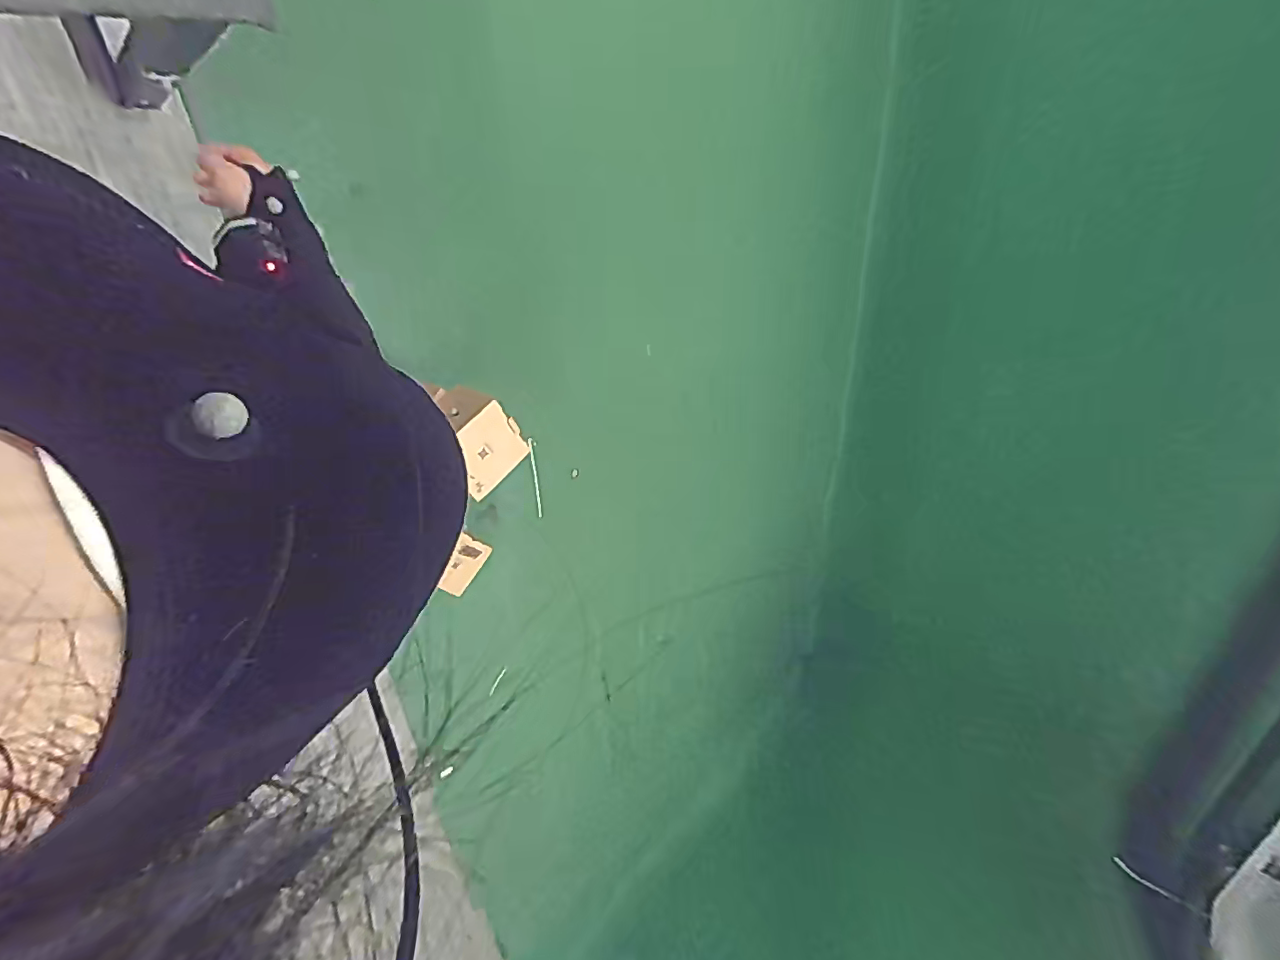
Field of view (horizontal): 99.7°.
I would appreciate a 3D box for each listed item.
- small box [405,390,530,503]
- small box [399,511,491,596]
[{"bbox_3d":[-0.394,-0.082,1.231,0.179,0.176,0.168,-49,136,-21],"label":"small box"},{"bbox_3d":[-0.599,0.221,1.653,0.179,0.176,0.168,-57,139,-11],"label":"small box"}]
